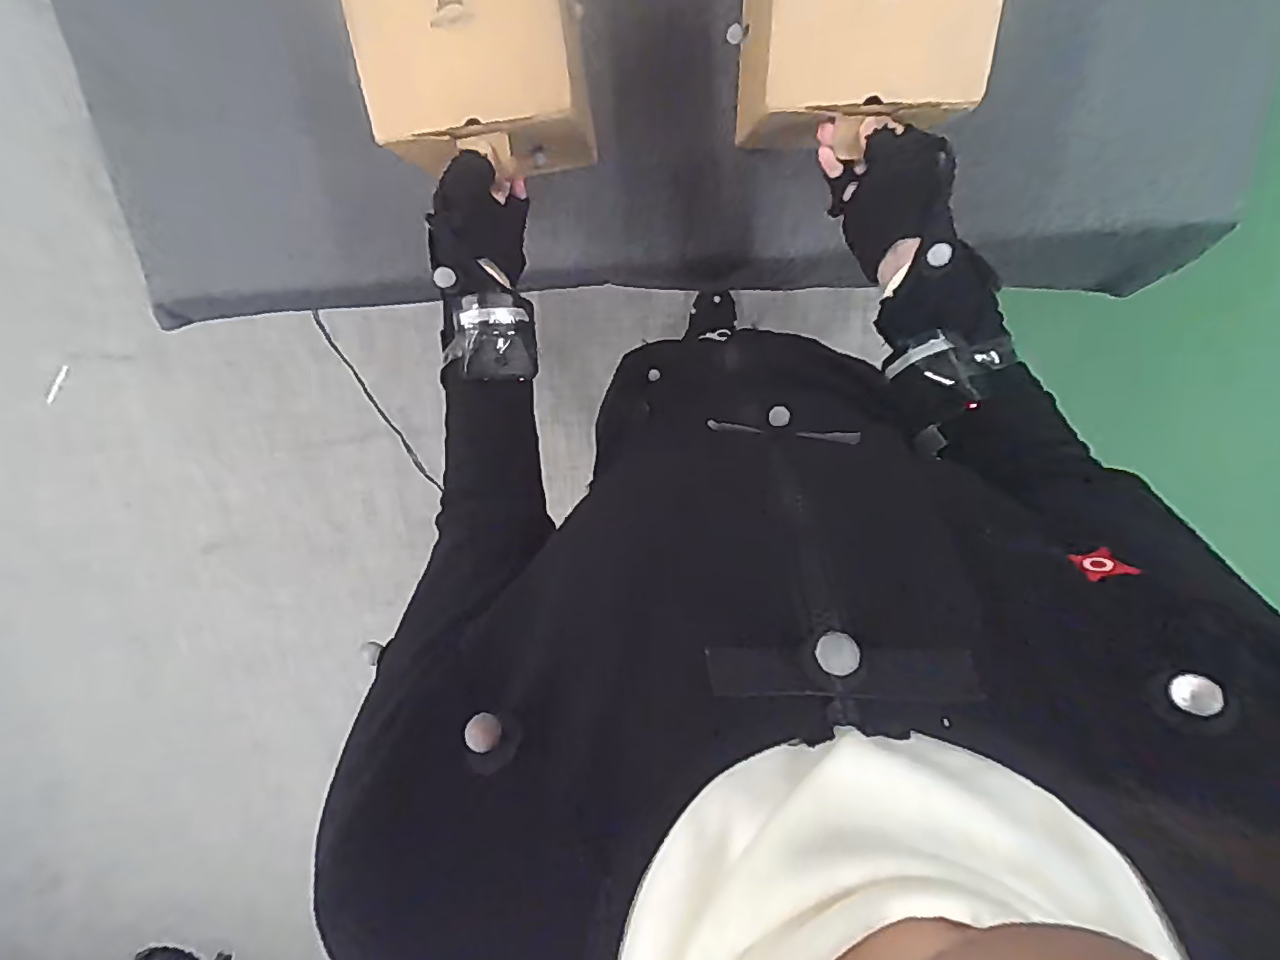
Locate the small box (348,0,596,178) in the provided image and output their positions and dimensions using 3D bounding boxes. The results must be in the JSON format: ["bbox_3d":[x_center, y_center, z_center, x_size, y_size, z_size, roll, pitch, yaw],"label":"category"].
[{"bbox_3d":[-0.138,-0.391,0.488,0.168,0.176,0.179,-7,106,3],"label":"small box"}]

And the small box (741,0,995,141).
[{"bbox_3d":[0.181,-0.401,0.461,0.168,0.176,0.179,0,113,2],"label":"small box"}]
